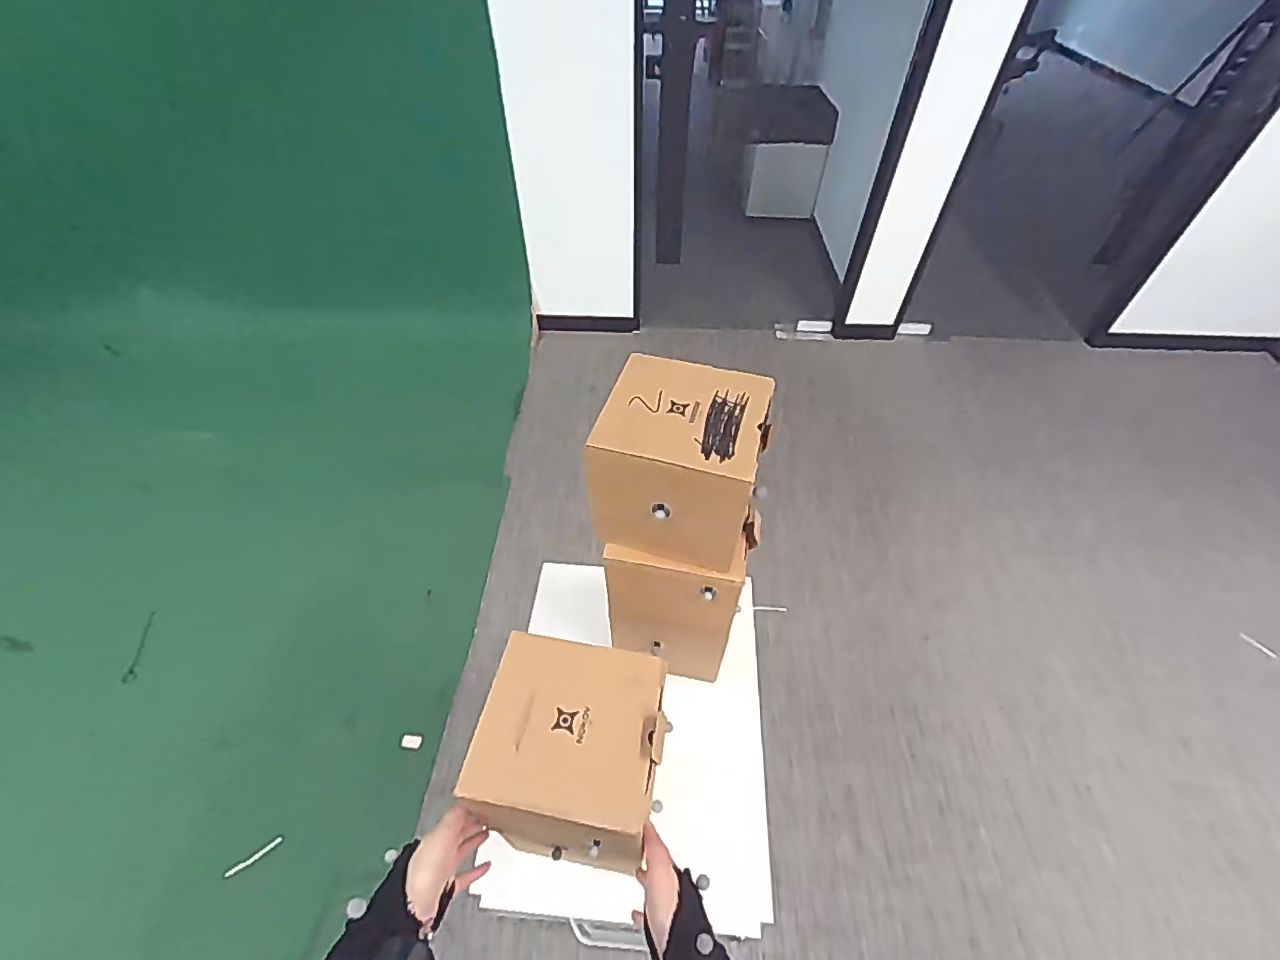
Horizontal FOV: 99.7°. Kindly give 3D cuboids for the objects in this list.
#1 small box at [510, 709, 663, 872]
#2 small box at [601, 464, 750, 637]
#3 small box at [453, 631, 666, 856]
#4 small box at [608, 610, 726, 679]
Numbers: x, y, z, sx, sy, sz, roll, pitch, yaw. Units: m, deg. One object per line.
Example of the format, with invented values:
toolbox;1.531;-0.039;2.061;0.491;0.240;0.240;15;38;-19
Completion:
small box;-0.071;0.397;0.715;0.179;0.176;0.168;9;49;5
small box;0.051;0.102;0.761;0.179;0.176;0.168;9;49;6
small box;-0.072;0.291;0.592;0.179;0.176;0.168;8;47;6
small box;0.053;0.207;0.886;0.179;0.176;0.168;9;50;7
